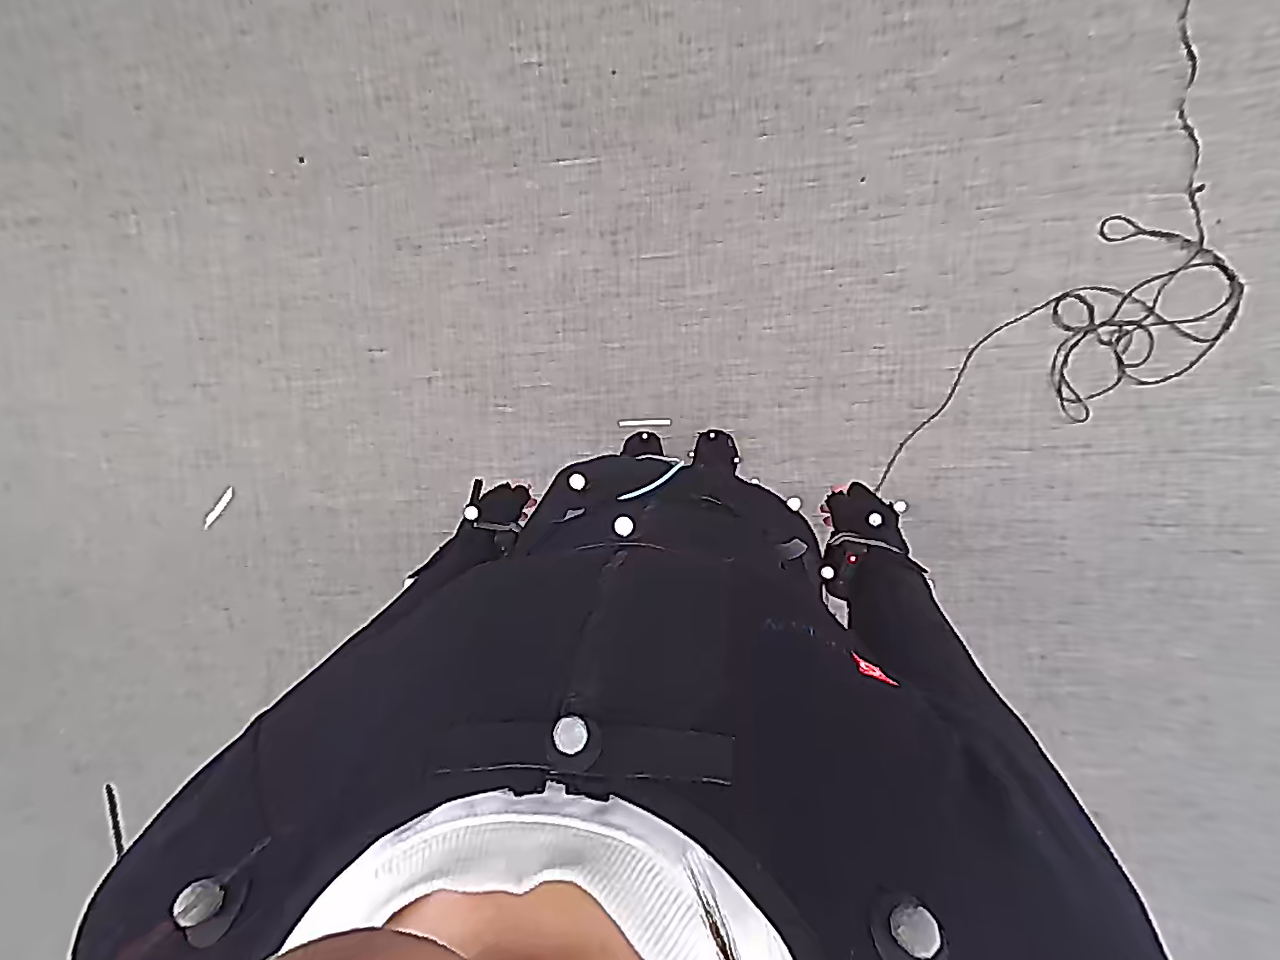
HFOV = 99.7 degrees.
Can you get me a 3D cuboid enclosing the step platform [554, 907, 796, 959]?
[{"bbox_3d":[0.095,1.416,1.501,0.684,0.204,0.286,-3,95,9],"label":"step platform"}]
